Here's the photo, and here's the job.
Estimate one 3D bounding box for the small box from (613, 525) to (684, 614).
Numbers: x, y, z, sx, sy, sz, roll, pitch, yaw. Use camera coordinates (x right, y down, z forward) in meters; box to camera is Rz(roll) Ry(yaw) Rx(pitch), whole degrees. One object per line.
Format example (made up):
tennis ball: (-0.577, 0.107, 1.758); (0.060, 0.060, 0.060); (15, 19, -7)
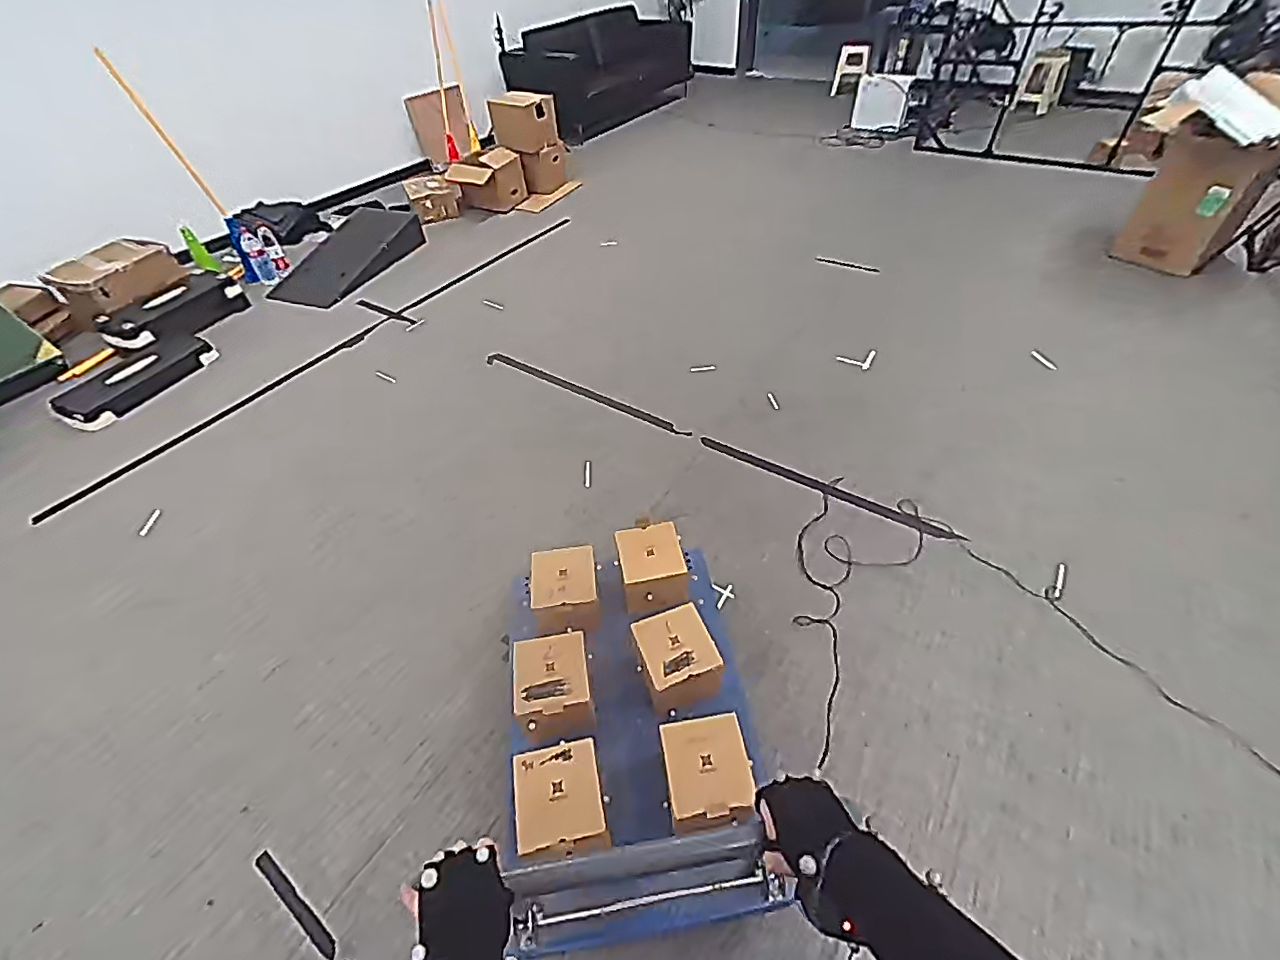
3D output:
small box: (0.025, 0.254, 1.497); (0.168, 0.176, 0.179); (-10, 46, -6)

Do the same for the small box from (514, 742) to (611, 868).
small box: (-0.157, 0.669, 1.106); (0.168, 0.176, 0.179); (-10, 47, -7)

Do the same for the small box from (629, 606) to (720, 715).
small box: (0.083, 0.443, 1.310); (0.168, 0.176, 0.179); (-17, 46, -13)

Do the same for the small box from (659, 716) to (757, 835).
small box: (0.136, 0.624, 1.133); (0.168, 0.176, 0.179); (-7, 45, -4)

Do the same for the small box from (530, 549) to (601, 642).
small box: (-0.198, 0.311, 1.452); (0.168, 0.176, 0.179); (-7, 47, -3)
